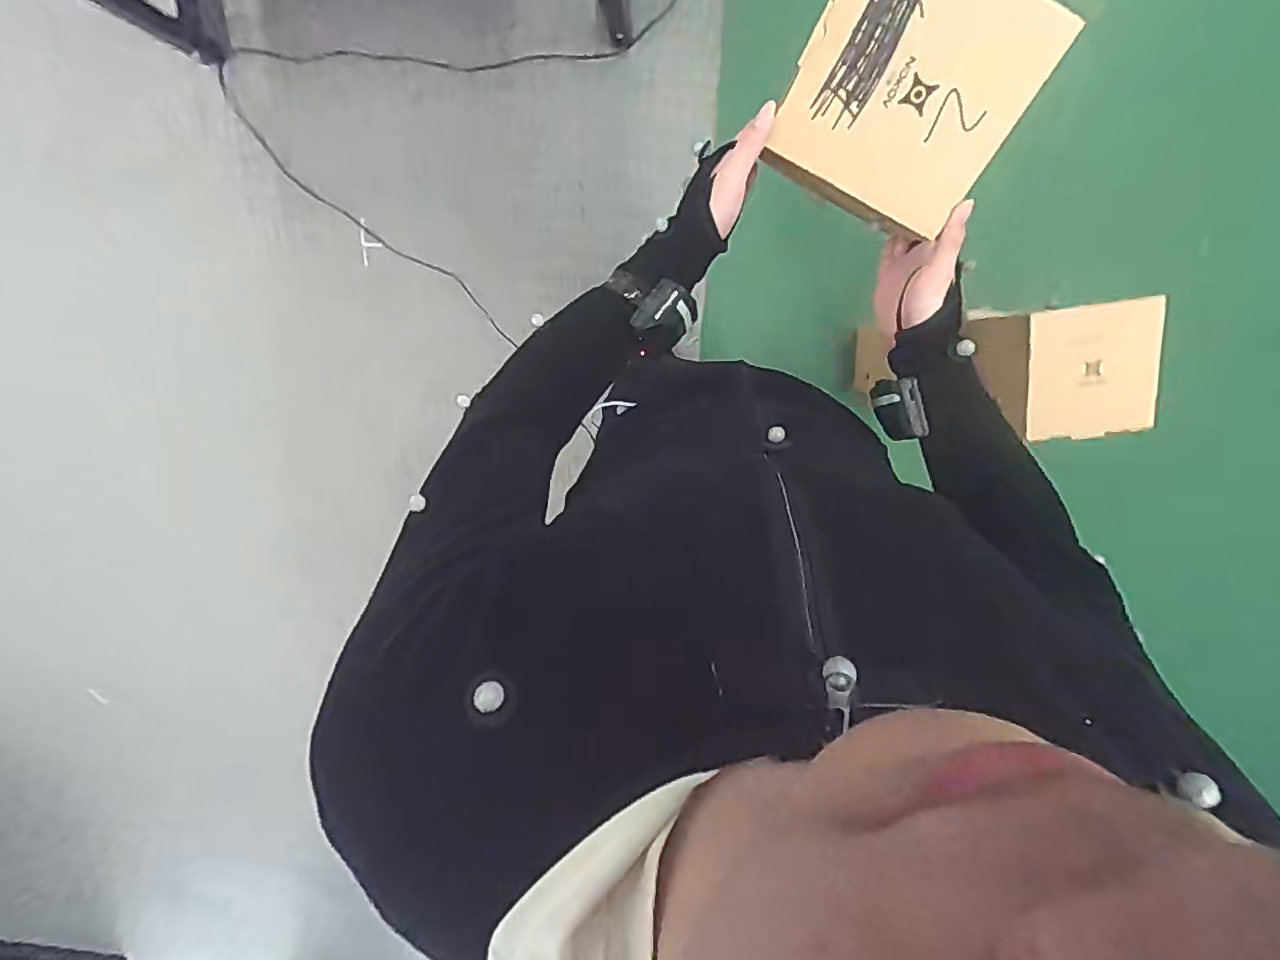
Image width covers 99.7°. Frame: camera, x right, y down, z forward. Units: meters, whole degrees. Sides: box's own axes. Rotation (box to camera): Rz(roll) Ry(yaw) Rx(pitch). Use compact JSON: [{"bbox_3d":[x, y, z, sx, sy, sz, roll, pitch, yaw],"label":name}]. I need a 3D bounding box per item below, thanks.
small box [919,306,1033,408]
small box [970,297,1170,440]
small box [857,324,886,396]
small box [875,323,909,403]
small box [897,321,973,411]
[{"bbox_3d":[0.618,-0.213,0.953,0.179,0.176,0.168,3,105,6],"label":"small box"},{"bbox_3d":[0.612,-0.165,0.796,0.168,0.176,0.179,-5,103,7],"label":"small box"},{"bbox_3d":[0.683,-0.320,1.425,0.168,0.176,0.179,0,106,6],"label":"small box"},{"bbox_3d":[0.665,-0.277,1.270,0.168,0.176,0.179,2,105,6],"label":"small box"},{"bbox_3d":[0.647,-0.239,1.112,0.168,0.176,0.179,0,106,7],"label":"small box"}]
